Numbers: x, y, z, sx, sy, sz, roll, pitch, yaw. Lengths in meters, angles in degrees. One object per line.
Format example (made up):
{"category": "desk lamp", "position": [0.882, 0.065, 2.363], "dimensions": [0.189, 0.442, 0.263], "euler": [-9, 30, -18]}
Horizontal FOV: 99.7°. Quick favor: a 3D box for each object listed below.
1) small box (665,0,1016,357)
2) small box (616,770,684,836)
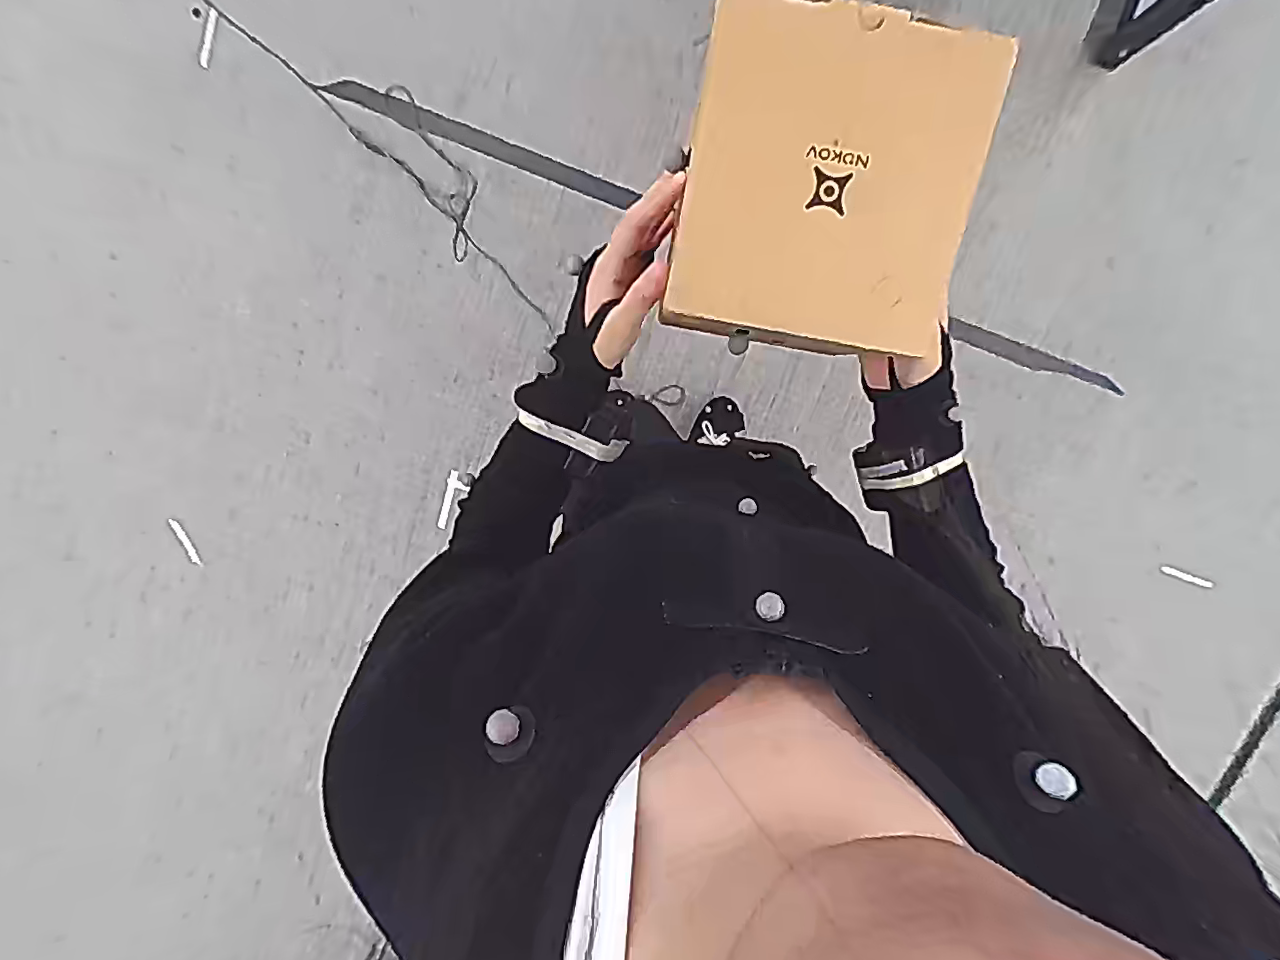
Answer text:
{"category": "small box", "position": [0.112, -0.189, 0.388], "dimensions": [0.168, 0.176, 0.179], "euler": [9, 102, -2]}
{"category": "small box", "position": [0.026, 0.989, 1.597], "dimensions": [0.179, 0.176, 0.168], "euler": [7, 100, -1]}
